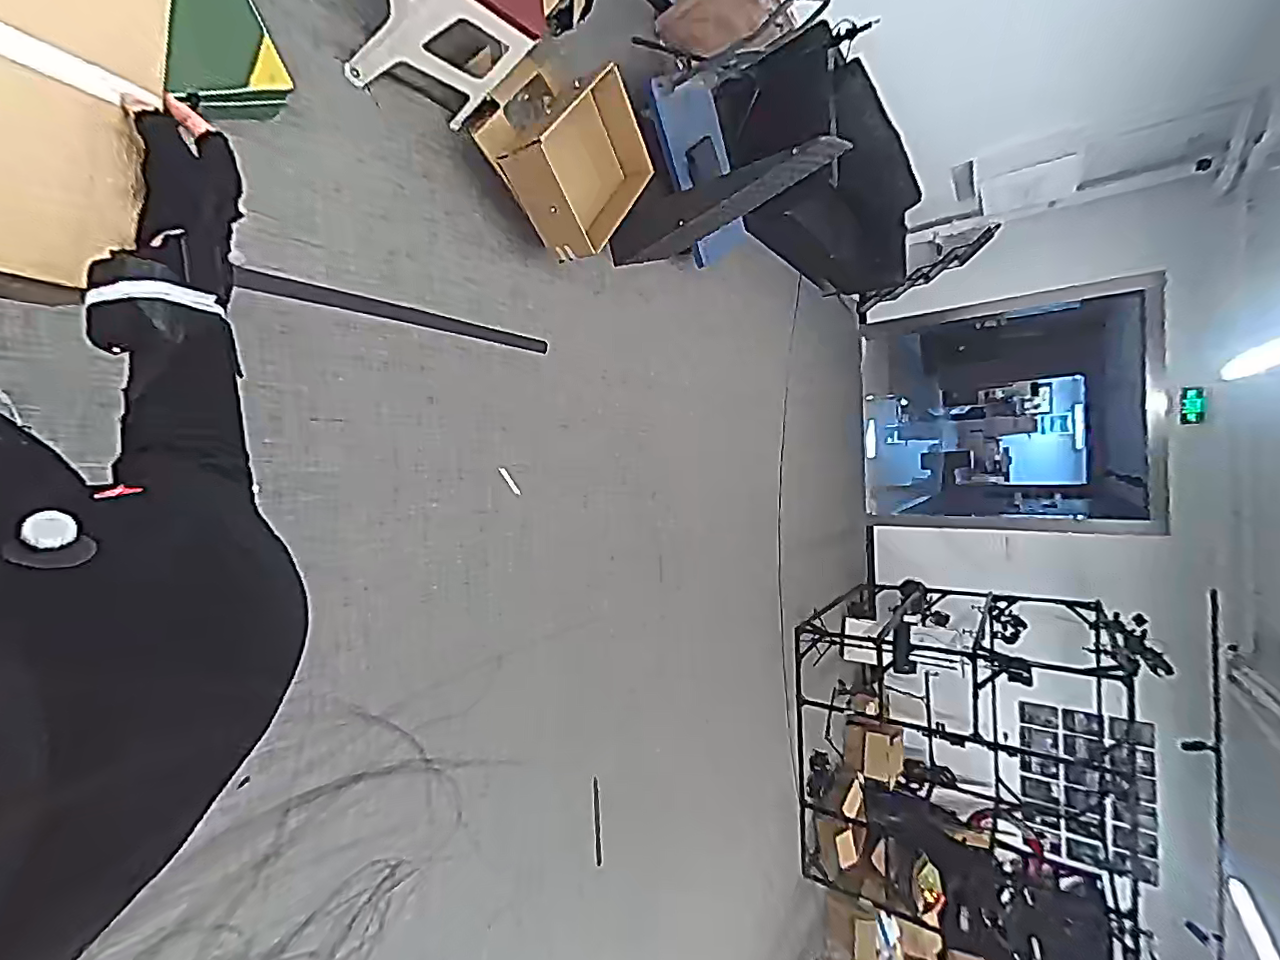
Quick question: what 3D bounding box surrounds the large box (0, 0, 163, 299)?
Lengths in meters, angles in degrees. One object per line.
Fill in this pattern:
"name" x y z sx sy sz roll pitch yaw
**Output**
"large box" -0.642 -0.333 0.366 0.408 0.320 0.320 2 99 -59
